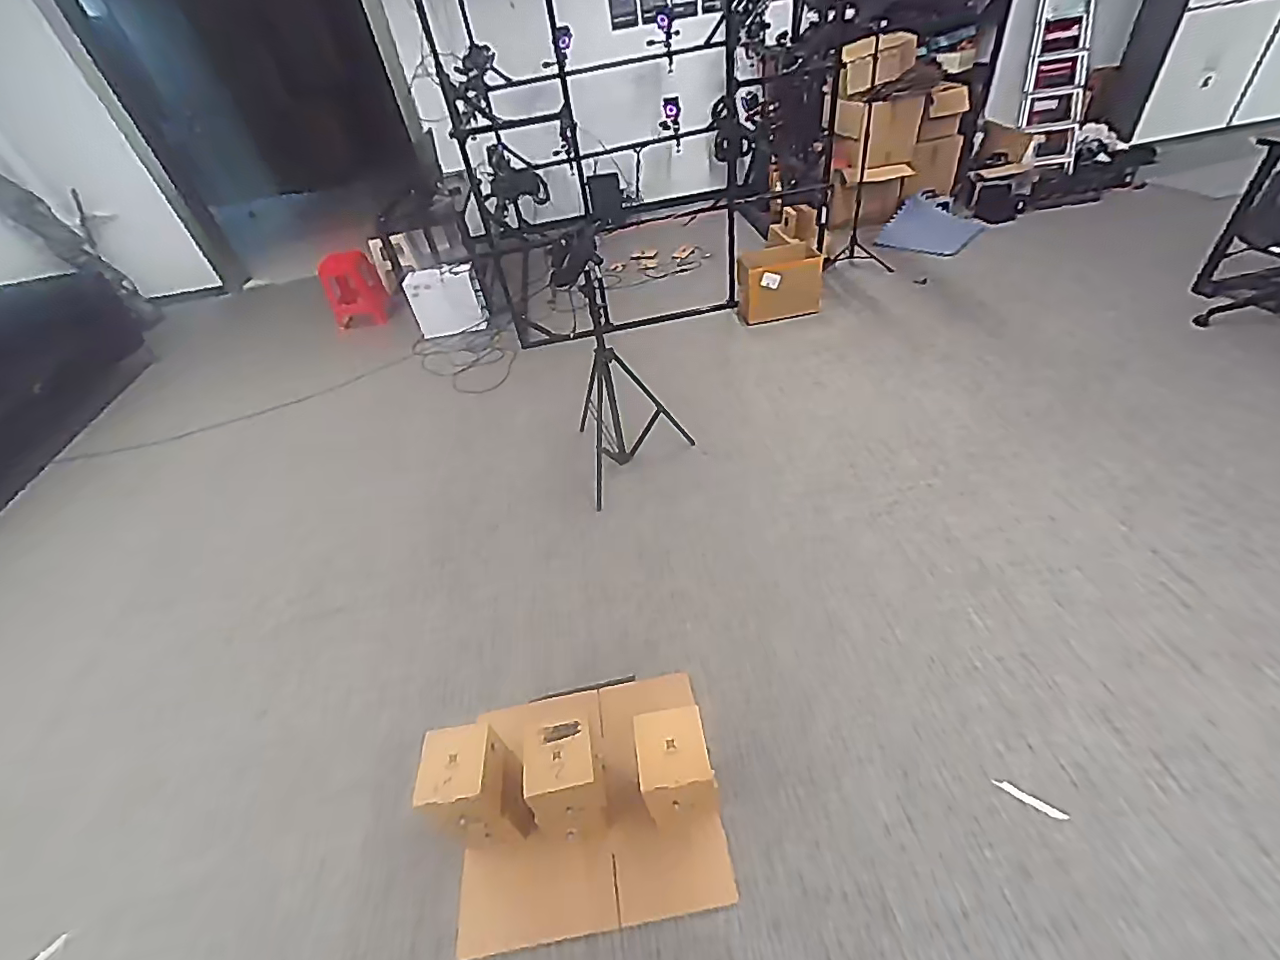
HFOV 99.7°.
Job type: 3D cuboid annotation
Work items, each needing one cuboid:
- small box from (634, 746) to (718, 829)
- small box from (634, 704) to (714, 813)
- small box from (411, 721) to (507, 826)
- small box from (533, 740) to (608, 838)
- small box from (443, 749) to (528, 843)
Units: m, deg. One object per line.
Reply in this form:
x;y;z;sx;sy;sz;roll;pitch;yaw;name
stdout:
0.098;0.788;1.430;0.179;0.176;0.168;-17;43;-8;small box
0.082;0.676;1.312;0.168;0.176;0.179;-10;43;0;small box
-0.441;0.733;1.351;0.168;0.176;0.179;-10;42;2;small box
-0.179;0.825;1.445;0.168;0.176;0.179;-9;42;1;small box
-0.407;0.856;1.456;0.168;0.176;0.179;-10;43;1;small box
